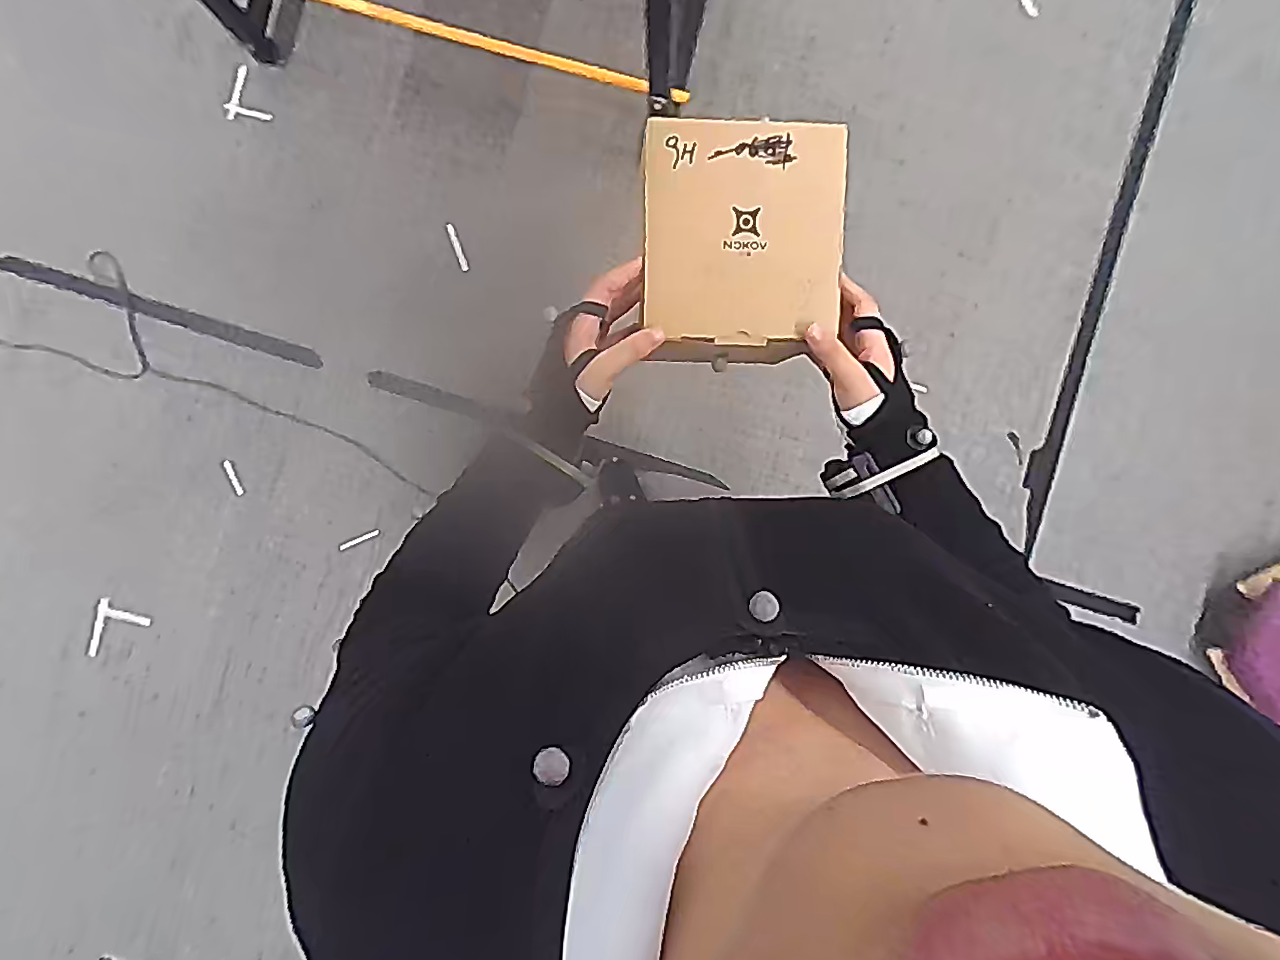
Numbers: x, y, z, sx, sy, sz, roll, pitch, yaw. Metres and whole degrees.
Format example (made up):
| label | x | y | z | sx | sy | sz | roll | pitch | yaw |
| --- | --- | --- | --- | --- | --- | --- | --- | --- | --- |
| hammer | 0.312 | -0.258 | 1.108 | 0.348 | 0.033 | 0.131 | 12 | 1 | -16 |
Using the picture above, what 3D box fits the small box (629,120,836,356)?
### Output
| label | x | y | z | sx | sy | sz | roll | pitch | yaw |
| --- | --- | --- | --- | --- | --- | --- | --- | --- | --- |
| small box | 0.075 | -0.216 | 0.529 | 0.168 | 0.176 | 0.179 | 0 | 98 | -3 |
